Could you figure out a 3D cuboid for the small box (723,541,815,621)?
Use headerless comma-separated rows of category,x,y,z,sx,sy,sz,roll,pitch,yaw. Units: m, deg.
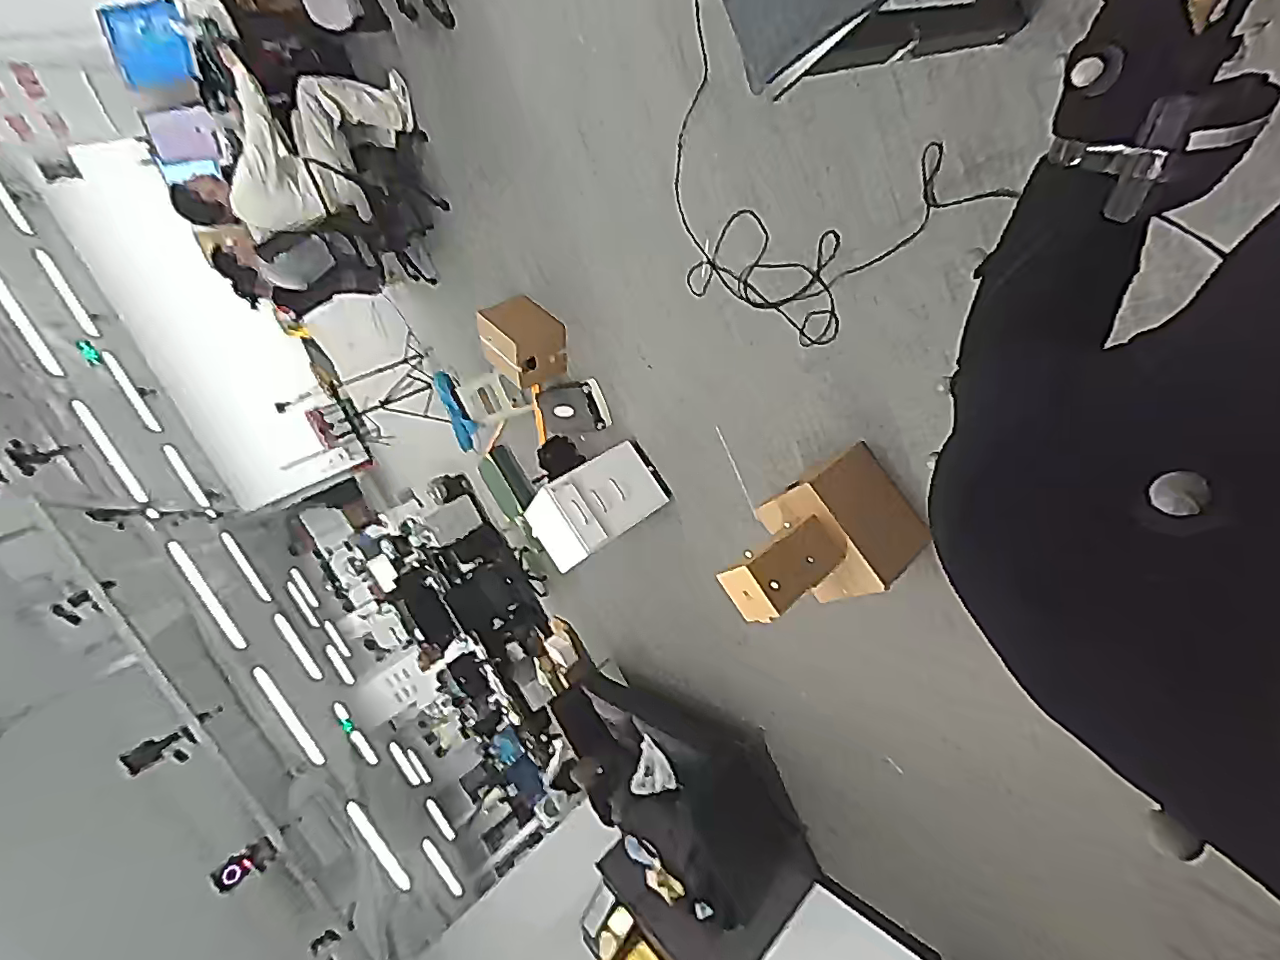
small box,0.394,0.302,1.650,0.179,0.176,0.168,56,150,4

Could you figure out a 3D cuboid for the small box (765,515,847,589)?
small box,0.522,0.239,1.729,0.179,0.176,0.168,56,150,4
